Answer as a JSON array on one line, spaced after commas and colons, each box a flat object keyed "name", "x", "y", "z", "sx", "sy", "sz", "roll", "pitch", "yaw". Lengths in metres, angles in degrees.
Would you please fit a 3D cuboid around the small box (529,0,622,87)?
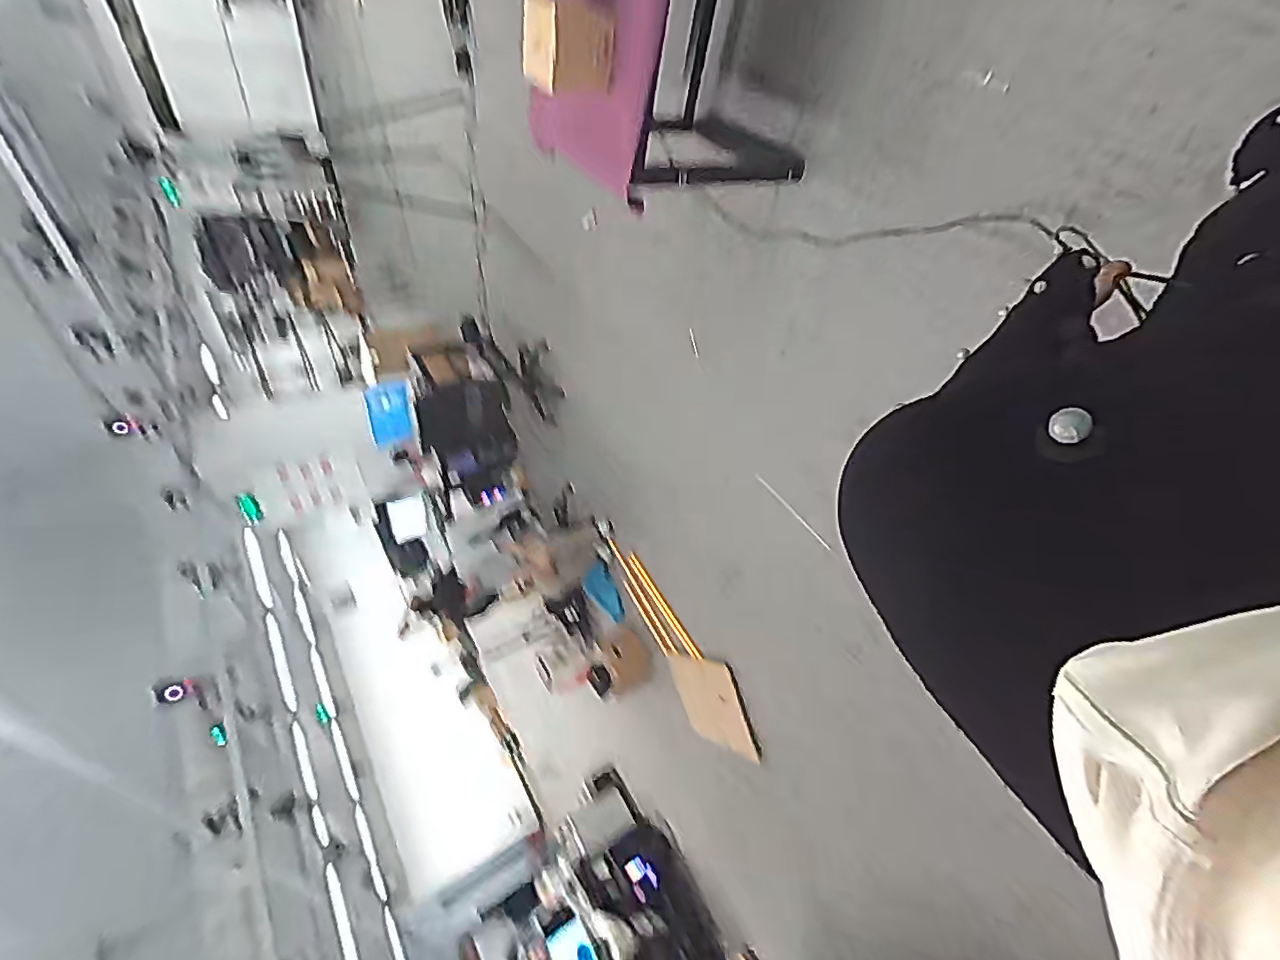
[{"name": "small box", "x": -0.169, "y": -1.128, "z": 1.382, "sx": 0.179, "sy": 0.176, "sz": 0.168, "roll": 51, "pitch": 146, "yaw": 31}]
